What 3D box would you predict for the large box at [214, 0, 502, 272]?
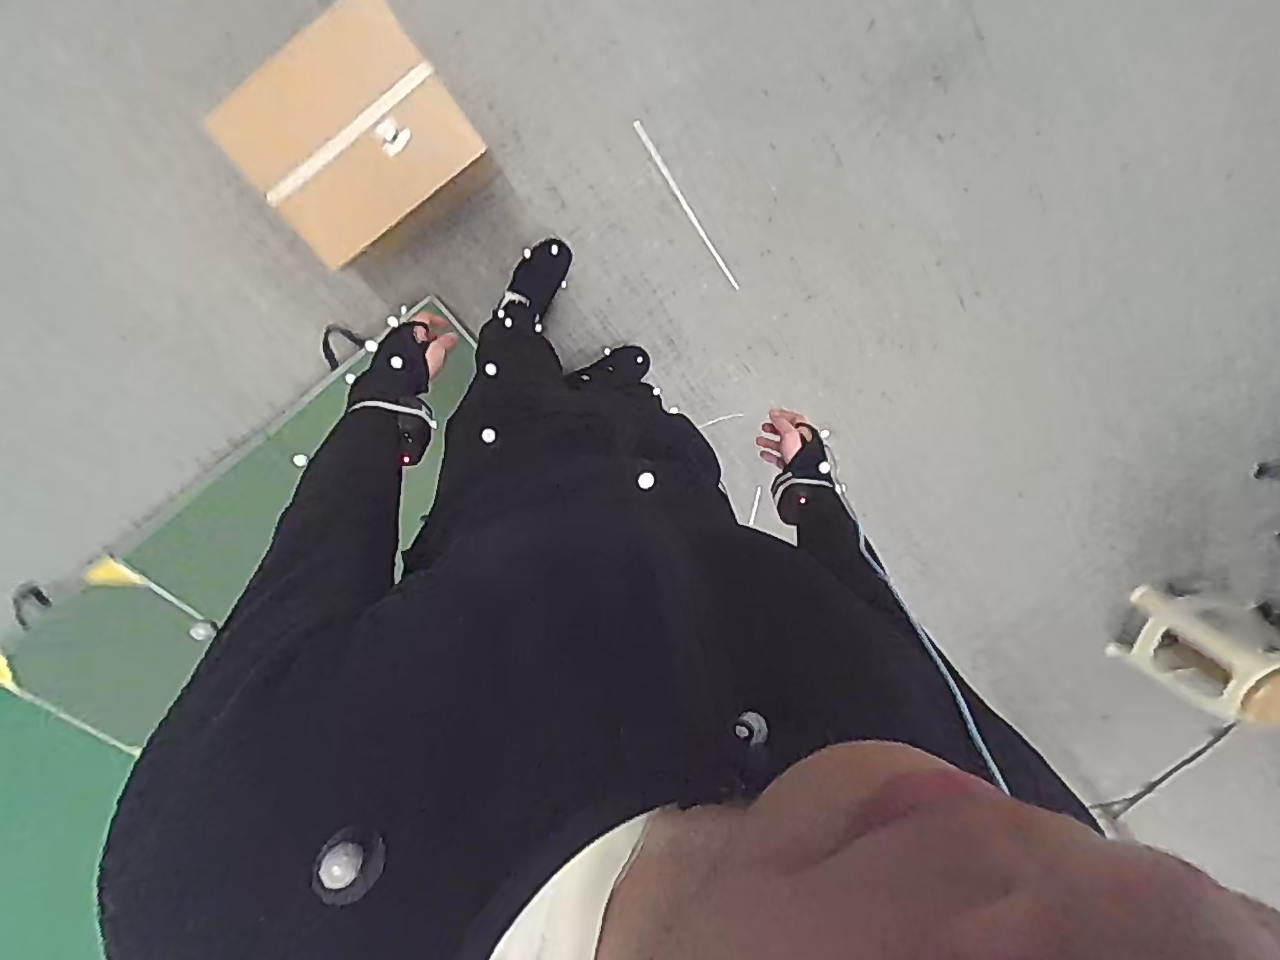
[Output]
[{"bbox_3d":[-0.561,-0.699,1.160,0.408,0.320,0.320,-34,114,6],"label":"large box"}]
